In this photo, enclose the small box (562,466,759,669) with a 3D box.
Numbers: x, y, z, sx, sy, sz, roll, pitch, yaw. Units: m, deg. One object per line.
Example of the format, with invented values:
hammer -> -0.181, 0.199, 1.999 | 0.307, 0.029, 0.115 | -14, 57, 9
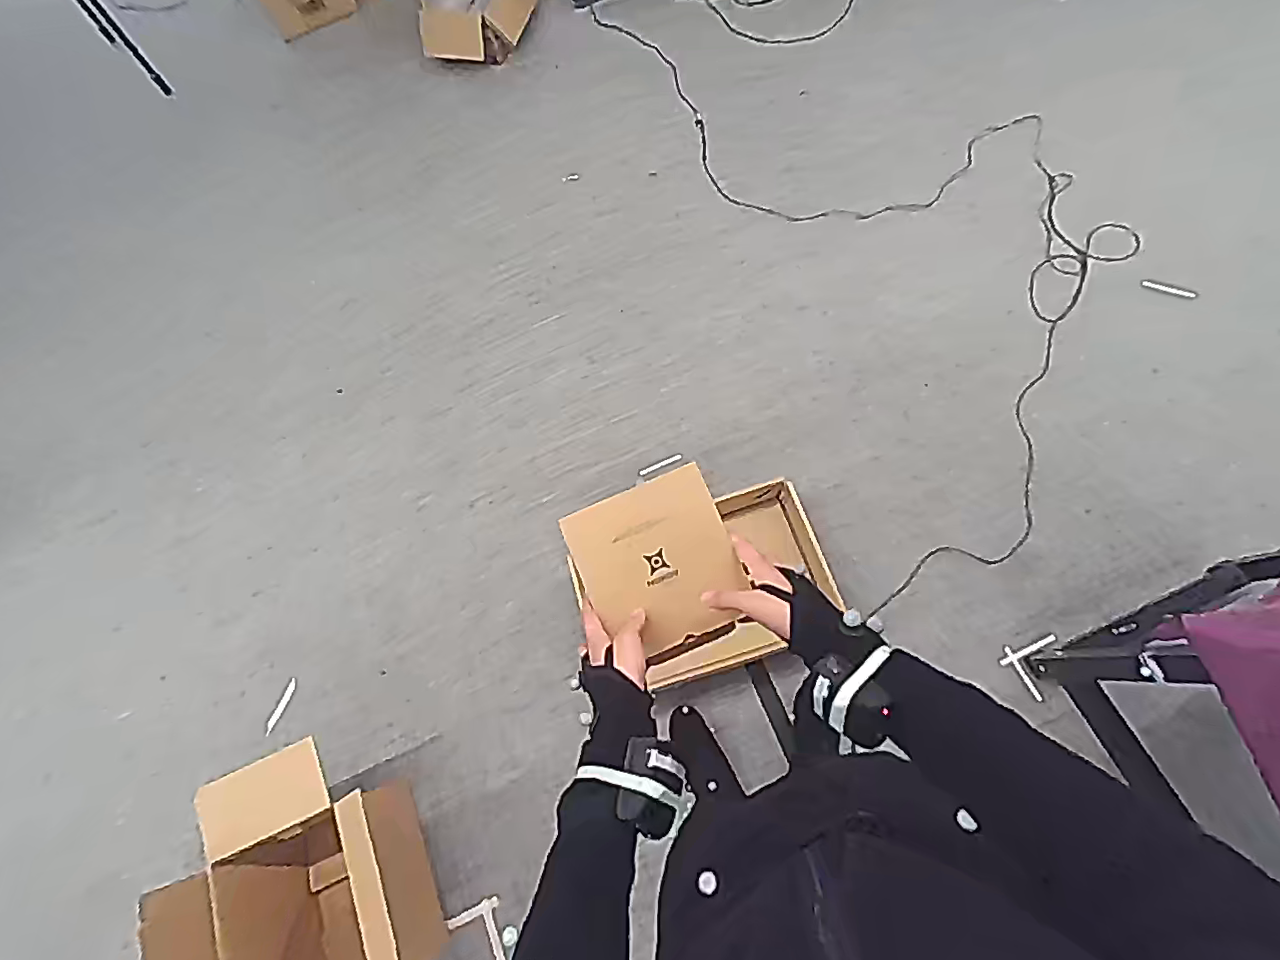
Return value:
small box -> 0.024, 0.098, 0.657 | 0.168, 0.176, 0.179 | -23, 85, -1
